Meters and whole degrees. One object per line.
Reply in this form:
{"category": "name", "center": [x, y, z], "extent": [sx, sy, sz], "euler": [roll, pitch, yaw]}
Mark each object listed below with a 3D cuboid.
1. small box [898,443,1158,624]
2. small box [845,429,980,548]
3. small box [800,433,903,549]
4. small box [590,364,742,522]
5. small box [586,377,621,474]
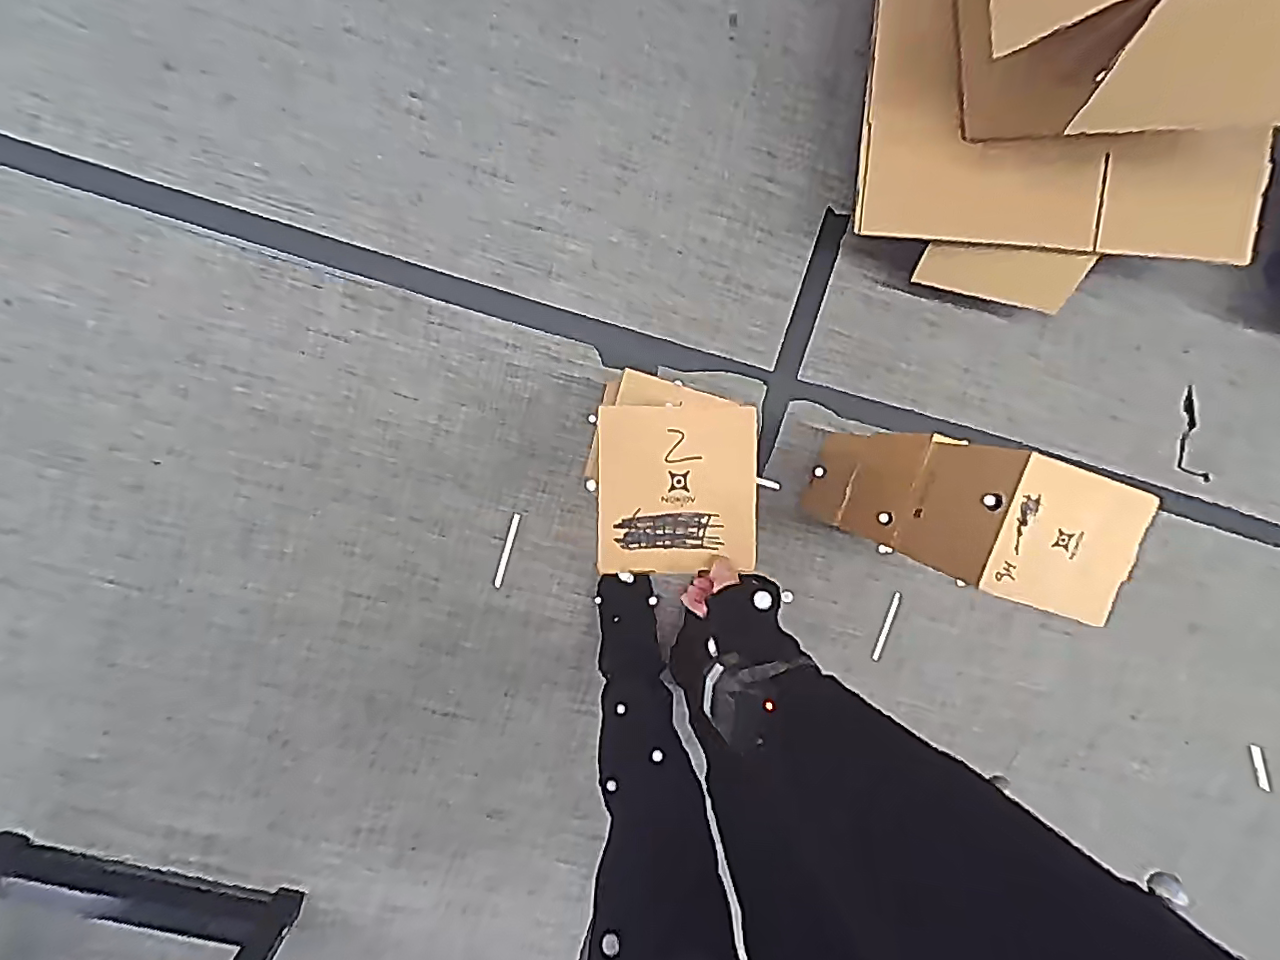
{"category": "small box", "center": [0.476, 0.056, 0.691], "extent": [0.179, 0.176, 0.168], "euler": [18, 96, -9]}
{"category": "small box", "center": [0.452, 0.023, 0.850], "extent": [0.168, 0.176, 0.179], "euler": [16, 96, -8]}
{"category": "small box", "center": [0.433, 0.015, 1.011], "extent": [0.179, 0.176, 0.168], "euler": [20, 95, -8]}
{"category": "small box", "center": [0.029, -0.056, 0.799], "extent": [0.168, 0.176, 0.179], "euler": [16, 94, -7]}
{"category": "small box", "center": [0.009, -0.078, 0.961], "extent": [0.179, 0.176, 0.168], "euler": [14, 95, -6]}
